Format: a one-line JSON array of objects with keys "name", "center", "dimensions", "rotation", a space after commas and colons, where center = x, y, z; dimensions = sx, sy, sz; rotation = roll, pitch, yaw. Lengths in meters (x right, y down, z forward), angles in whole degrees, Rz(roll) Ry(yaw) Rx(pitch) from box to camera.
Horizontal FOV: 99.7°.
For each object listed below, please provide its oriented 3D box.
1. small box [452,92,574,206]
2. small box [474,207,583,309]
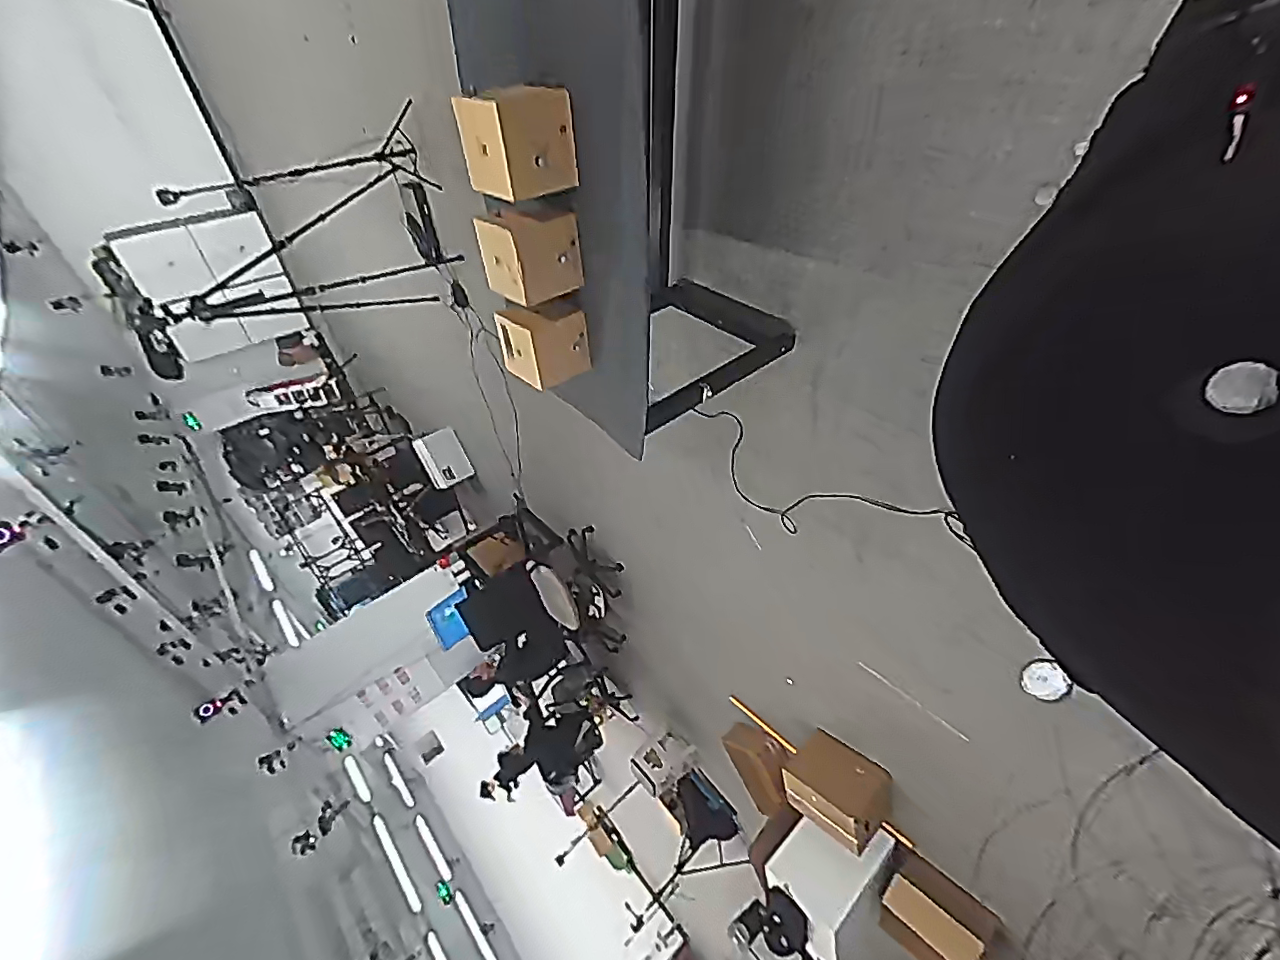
[{"name": "small box", "center": [-0.247, -0.680, 1.103], "dimensions": [0.179, 0.176, 0.168], "rotation": [35, 145, 37]}, {"name": "small box", "center": [-0.256, -0.525, 1.265], "dimensions": [0.179, 0.176, 0.168], "rotation": [34, 144, 37]}]
